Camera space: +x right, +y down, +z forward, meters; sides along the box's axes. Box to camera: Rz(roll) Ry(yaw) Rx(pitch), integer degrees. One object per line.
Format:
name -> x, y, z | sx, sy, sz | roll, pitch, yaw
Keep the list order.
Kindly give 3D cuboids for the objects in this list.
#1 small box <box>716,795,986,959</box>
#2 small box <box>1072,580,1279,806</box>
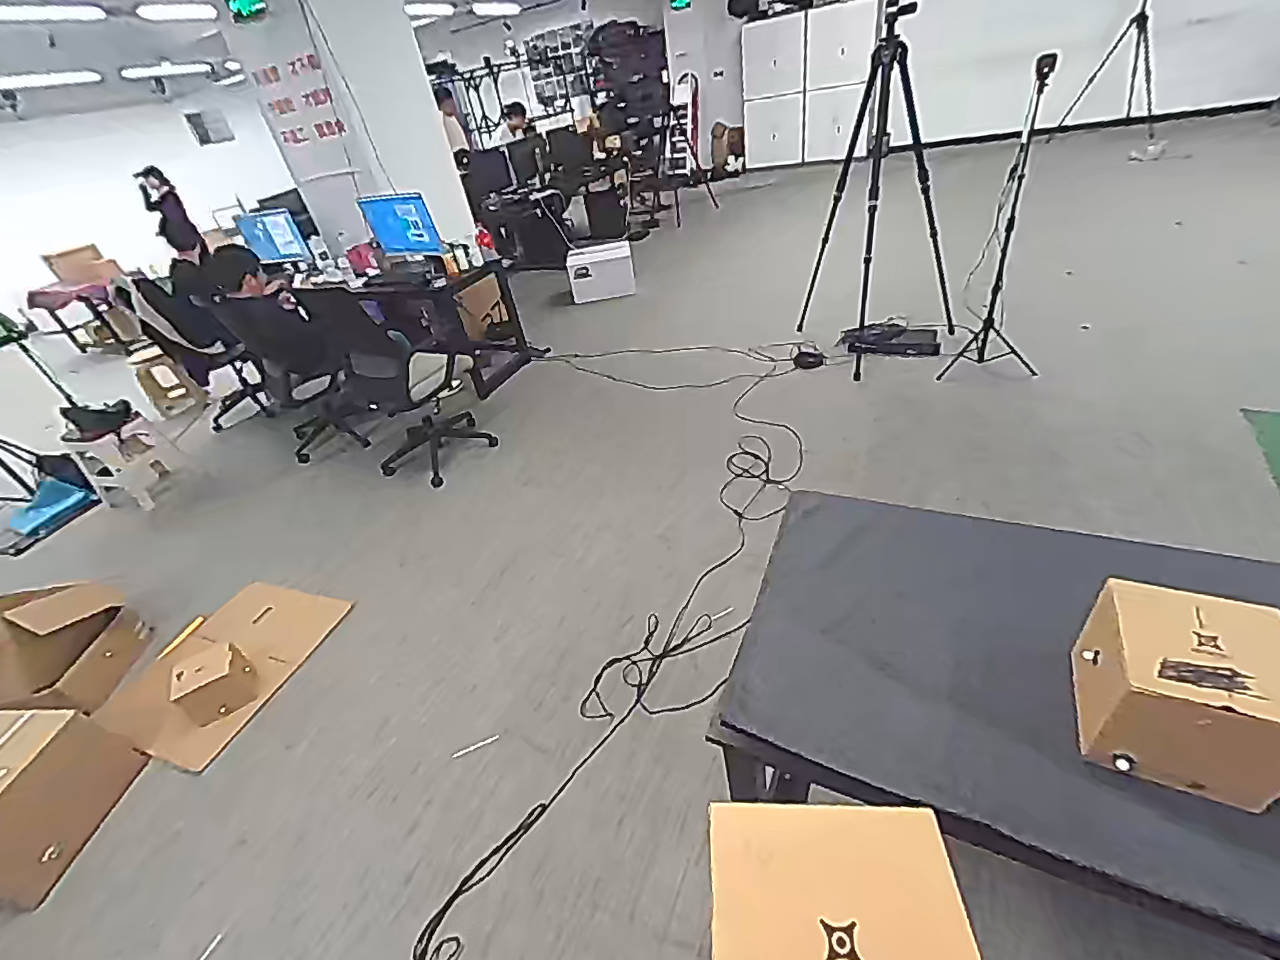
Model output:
small box -> 0.139, 0.358, 0.387 | 0.168, 0.176, 0.179 | -3, 37, 8
small box -> 0.663, 0.258, 0.668 | 0.168, 0.176, 0.179 | 10, 40, 27
